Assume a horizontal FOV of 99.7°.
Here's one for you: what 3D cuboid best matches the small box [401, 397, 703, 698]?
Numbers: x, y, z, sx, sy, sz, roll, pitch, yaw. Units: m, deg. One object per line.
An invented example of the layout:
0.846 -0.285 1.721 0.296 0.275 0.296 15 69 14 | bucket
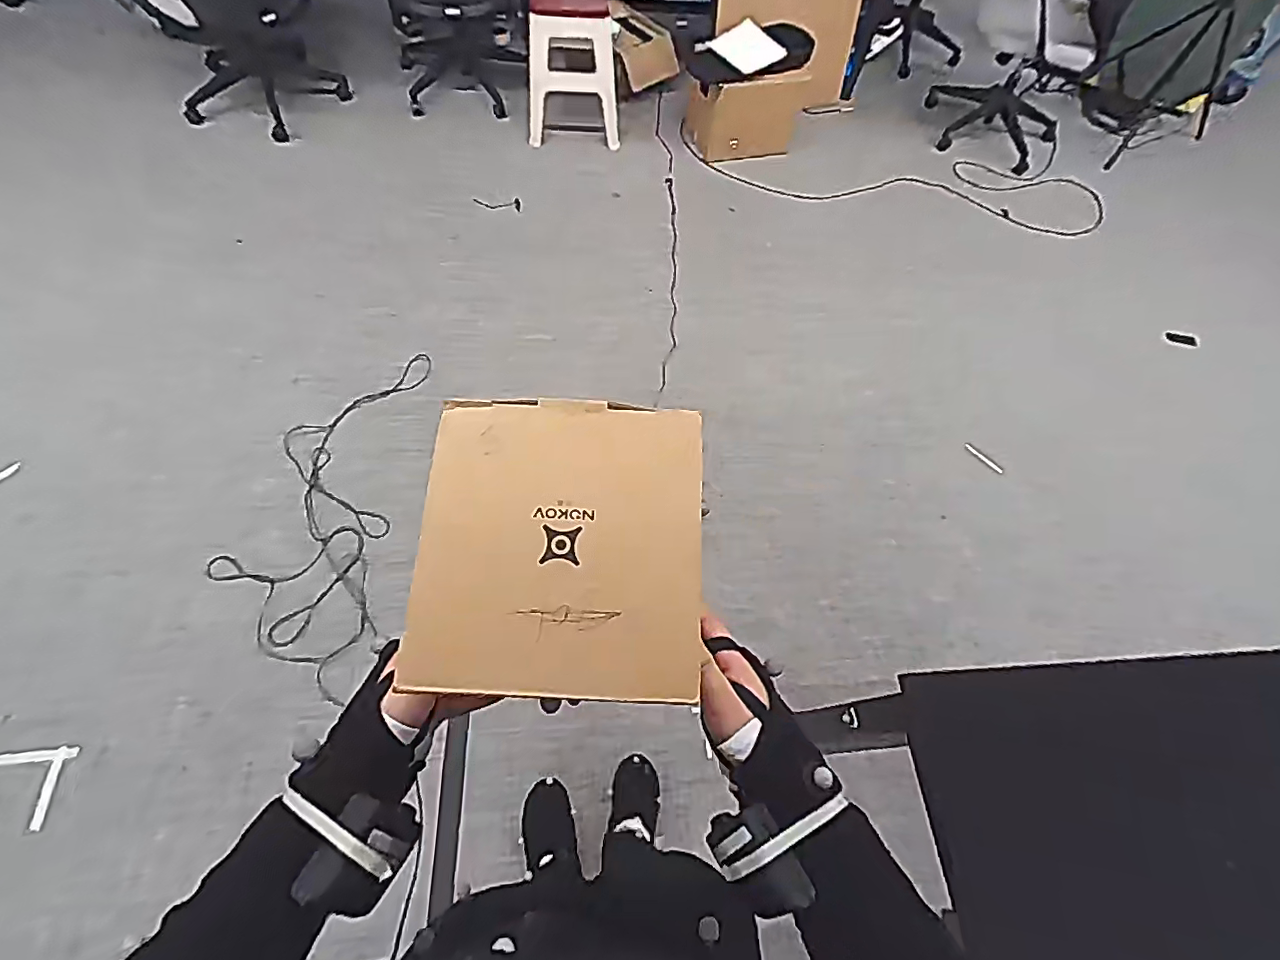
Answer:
-0.048 0.059 0.396 0.168 0.176 0.179 3 72 -1 | small box
